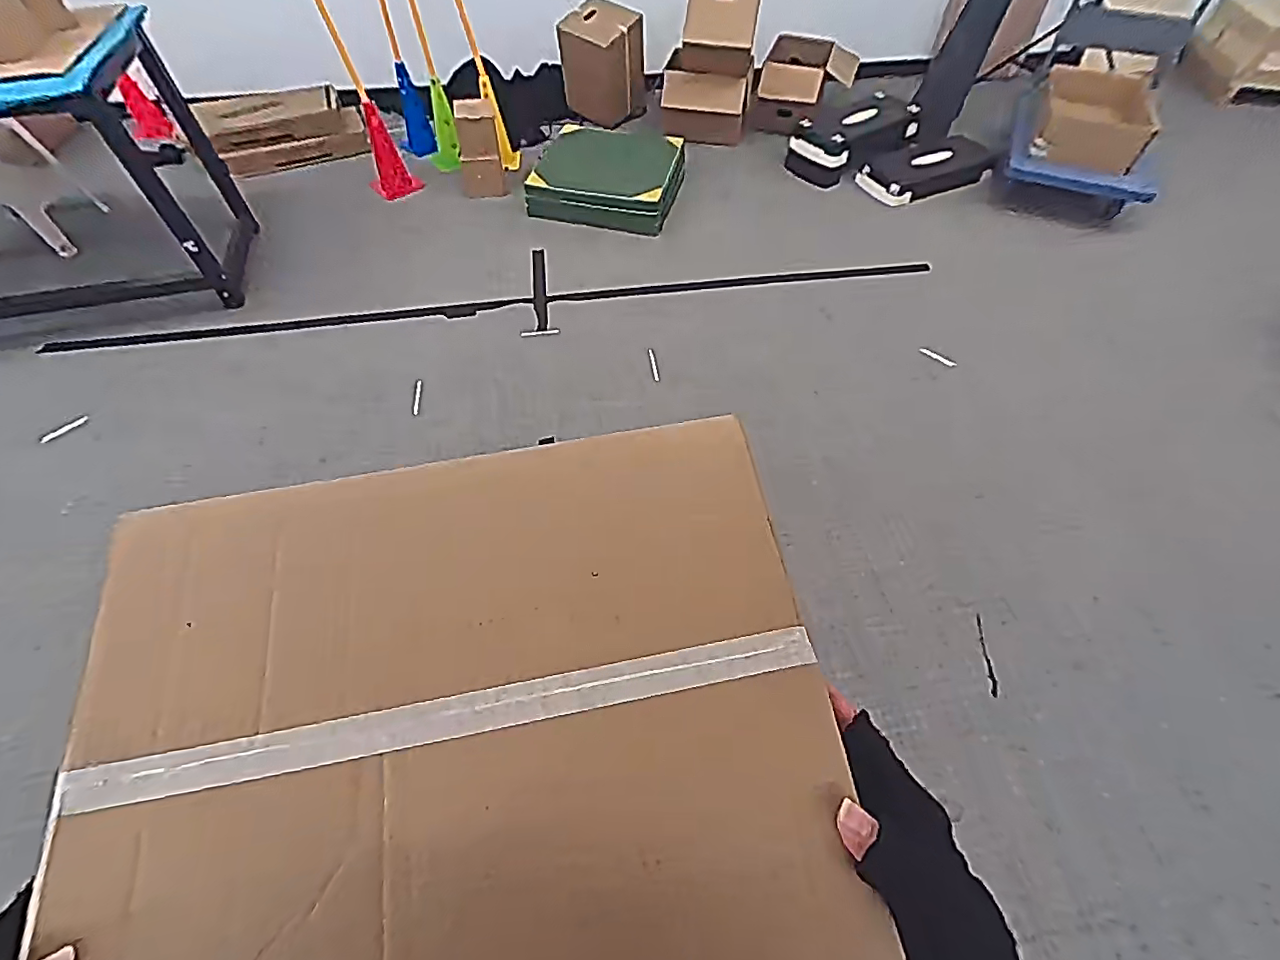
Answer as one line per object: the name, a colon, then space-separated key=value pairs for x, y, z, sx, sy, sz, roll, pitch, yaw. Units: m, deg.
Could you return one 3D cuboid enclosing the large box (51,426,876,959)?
large box: x=-0.102 y=0.192 z=0.444 sx=0.408 sy=0.320 sz=0.320 roll=-10 pitch=66 yaw=-4
